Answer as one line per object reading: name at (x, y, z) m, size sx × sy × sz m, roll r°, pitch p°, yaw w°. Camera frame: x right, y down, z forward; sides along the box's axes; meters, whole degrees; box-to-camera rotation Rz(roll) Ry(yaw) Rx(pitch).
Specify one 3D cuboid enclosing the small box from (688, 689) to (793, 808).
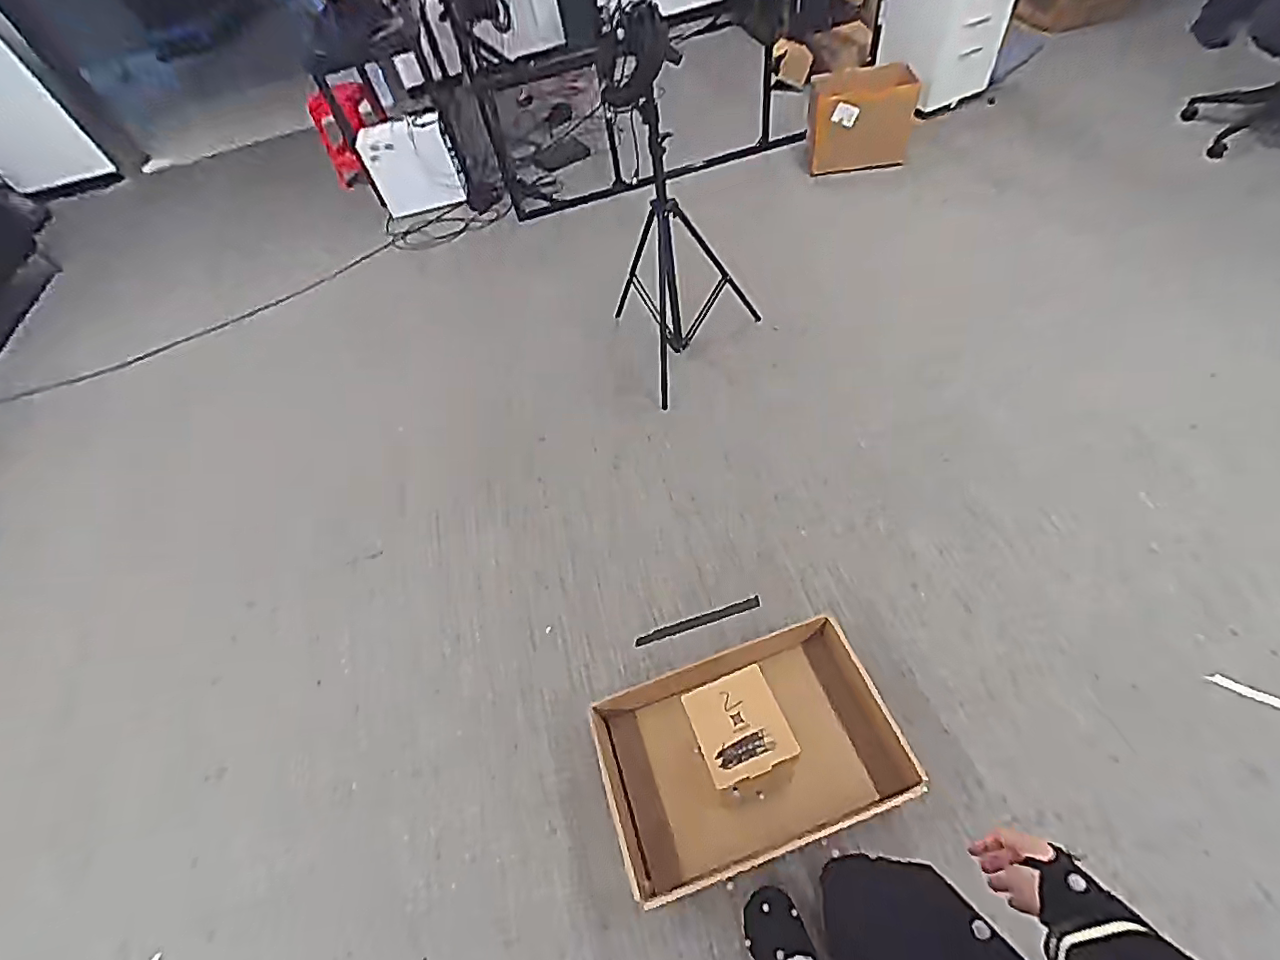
small box at (0.218, 0.597, 1.197) m, size 0.168 × 0.176 × 0.179 m, roll -22°, pitch 54°, yaw -5°
